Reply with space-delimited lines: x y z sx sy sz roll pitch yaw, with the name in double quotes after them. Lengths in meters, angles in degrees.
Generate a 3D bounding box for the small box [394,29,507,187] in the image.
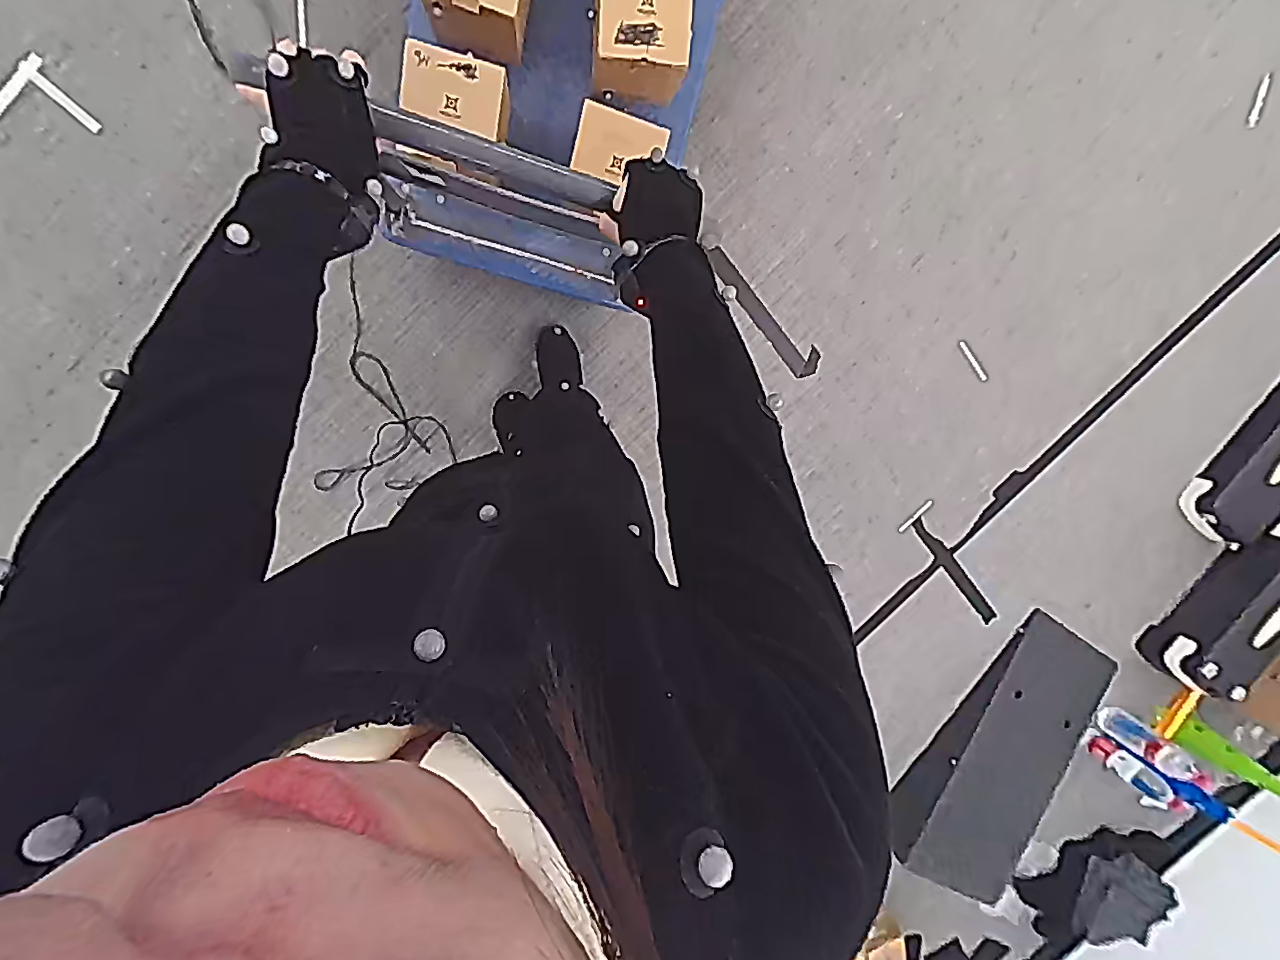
-0.343 -0.672 1.005 0.168 0.176 0.179 9 103 -14 "small box"

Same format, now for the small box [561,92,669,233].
-0.059 -0.613 1.075 0.168 0.176 0.179 13 101 -14 "small box"

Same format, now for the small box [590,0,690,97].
-0.004 -0.859 1.018 0.168 0.176 0.179 1 104 -10 "small box"
